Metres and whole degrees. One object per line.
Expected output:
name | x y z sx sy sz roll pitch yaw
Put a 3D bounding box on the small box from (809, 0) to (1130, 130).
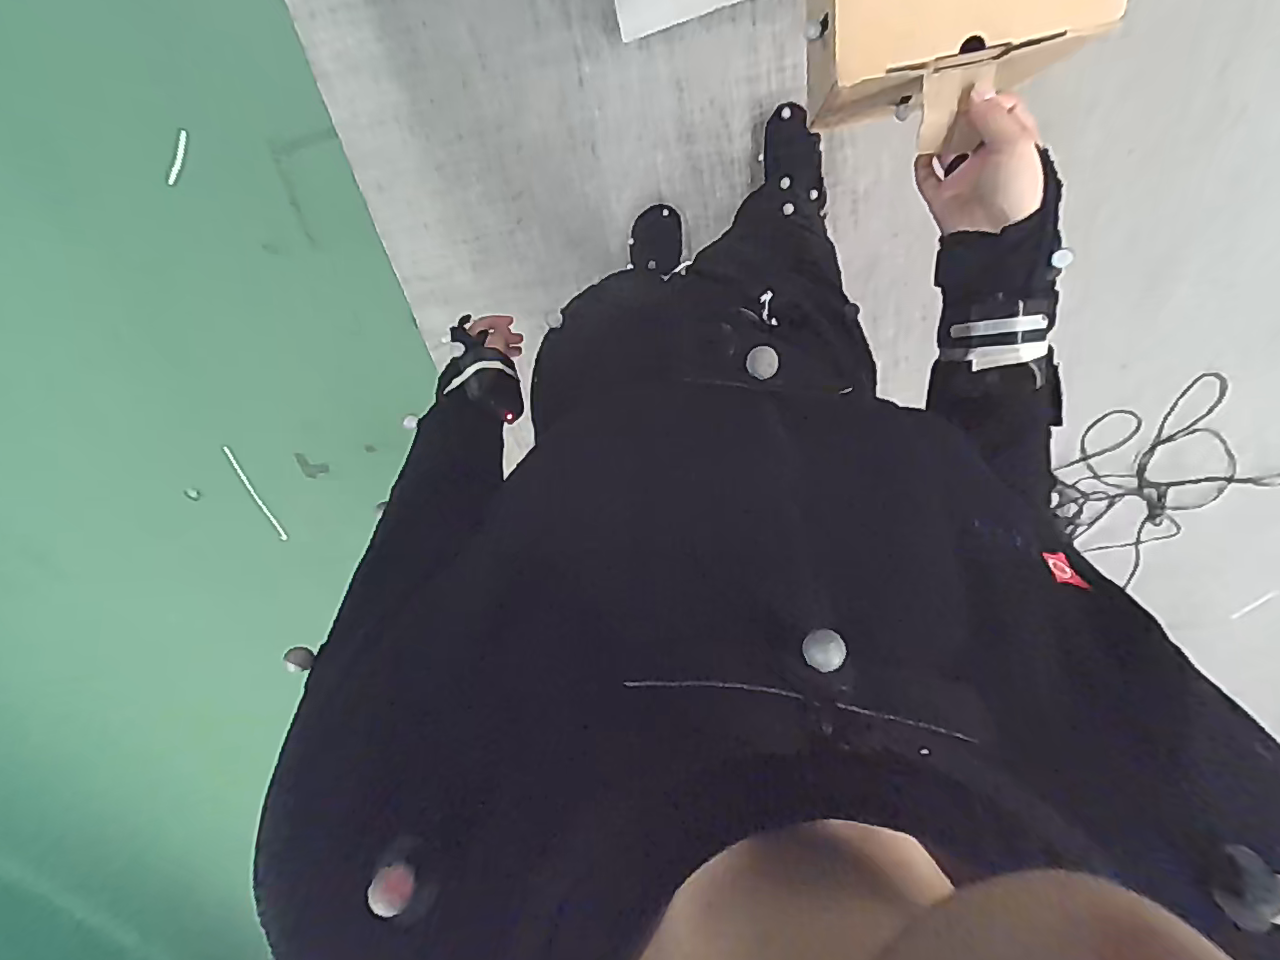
small box | 0.213 -0.376 0.381 0.168 0.176 0.179 -4 113 13
